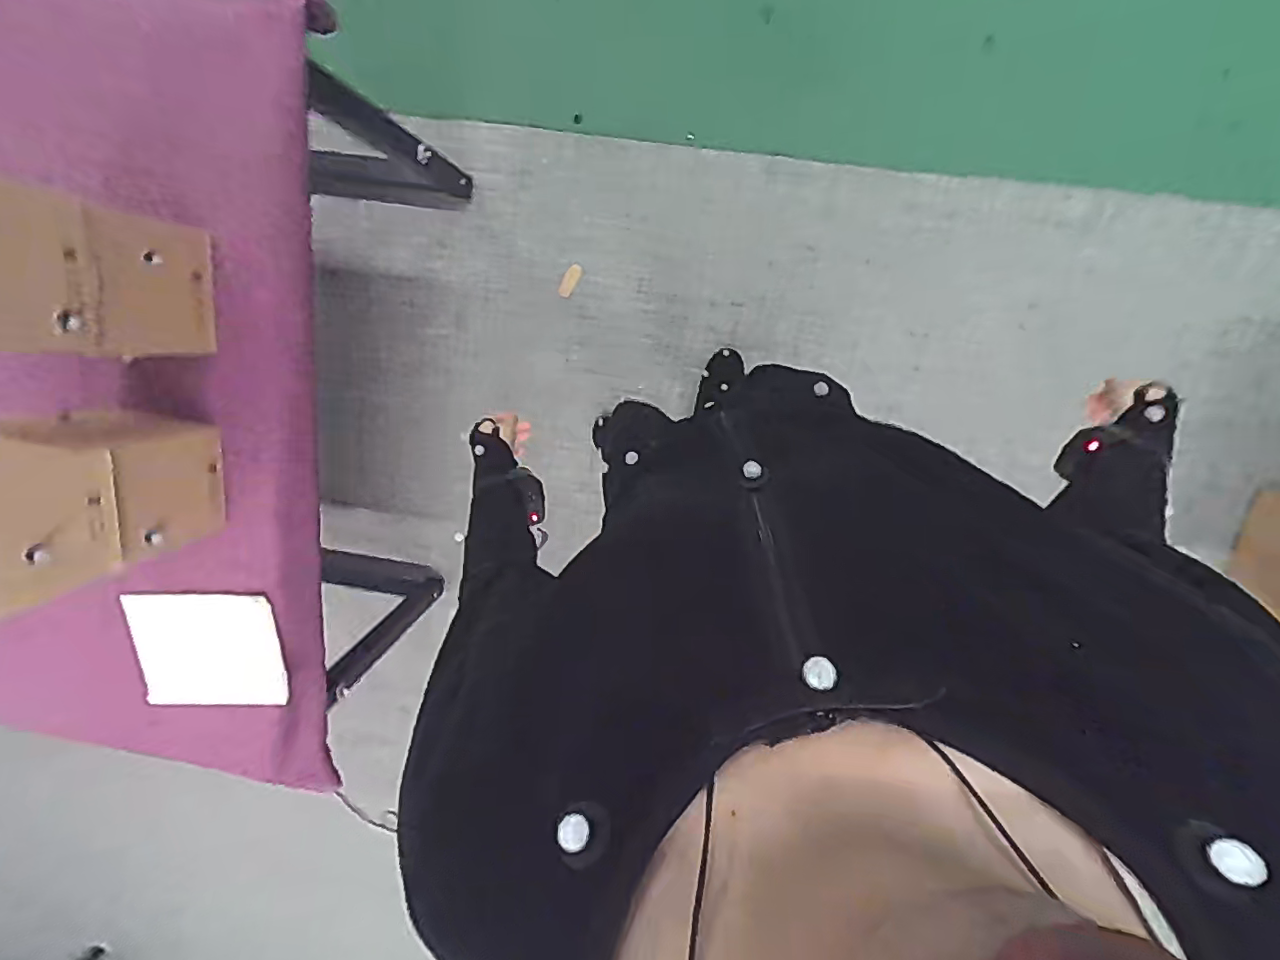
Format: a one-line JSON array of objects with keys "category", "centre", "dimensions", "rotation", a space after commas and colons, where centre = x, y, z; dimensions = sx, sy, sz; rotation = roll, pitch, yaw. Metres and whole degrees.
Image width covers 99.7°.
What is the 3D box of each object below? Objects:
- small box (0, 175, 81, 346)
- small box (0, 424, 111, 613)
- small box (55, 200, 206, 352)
[{"category": "small box", "centre": [-0.709, -0.226, 0.530], "dimensions": [0.179, 0.176, 0.168], "rotation": [9, 104, 5]}, {"category": "small box", "centre": [-0.747, 0.038, 0.602], "dimensions": [0.179, 0.176, 0.168], "rotation": [11, 106, 4]}, {"category": "small box", "centre": [-0.698, -0.263, 0.689], "dimensions": [0.179, 0.176, 0.168], "rotation": [10, 105, 4]}]
